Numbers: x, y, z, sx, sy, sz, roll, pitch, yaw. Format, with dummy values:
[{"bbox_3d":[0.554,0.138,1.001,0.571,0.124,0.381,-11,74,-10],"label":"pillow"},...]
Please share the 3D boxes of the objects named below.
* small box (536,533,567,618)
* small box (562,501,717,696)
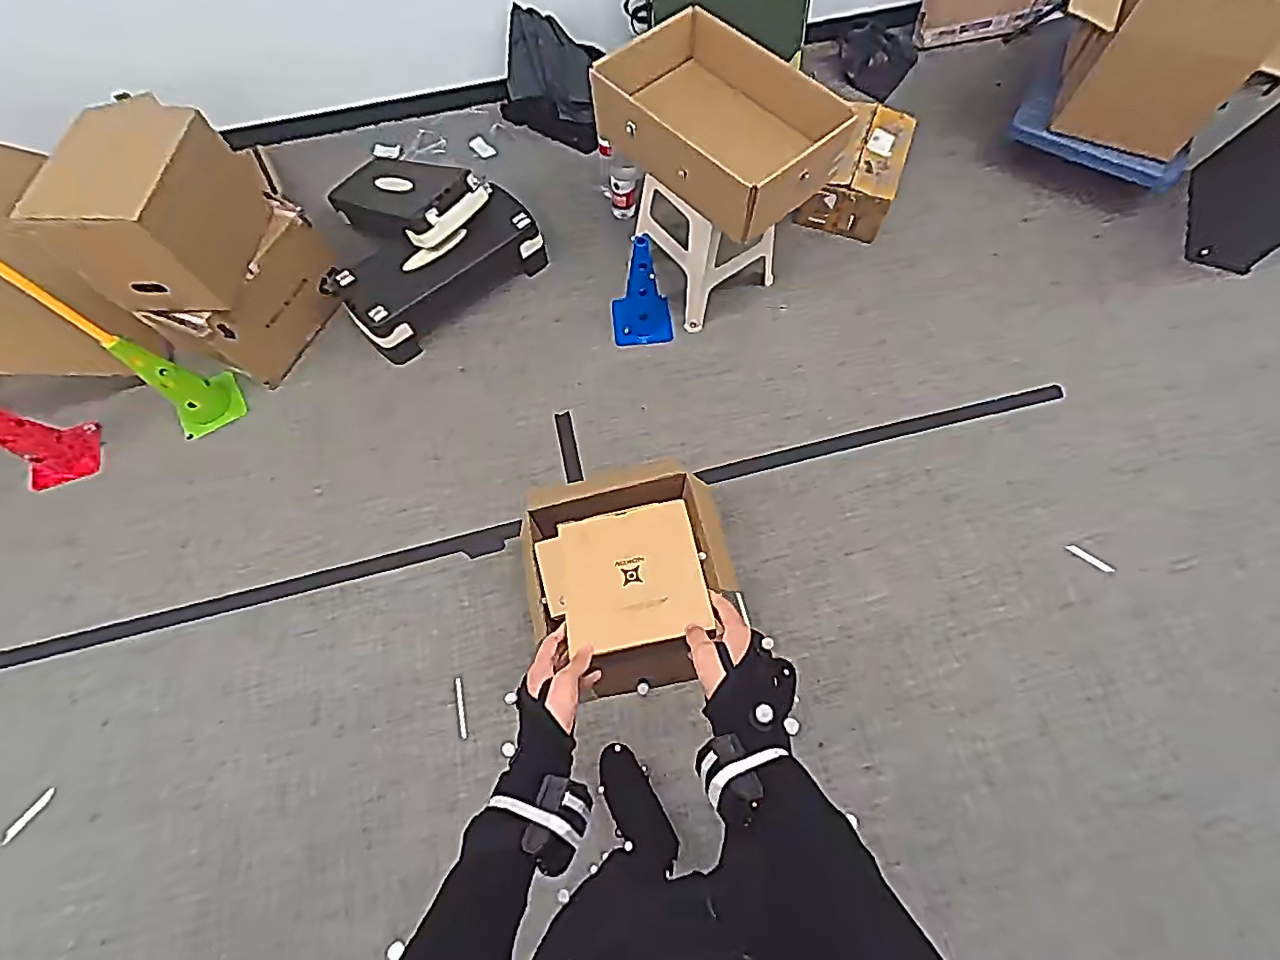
[{"bbox_3d":[-0.135,0.222,1.279,0.168,0.176,0.179,-14,70,-5],"label":"small box"},{"bbox_3d":[0.001,0.156,0.699,0.168,0.176,0.179,-12,52,1],"label":"small box"}]
